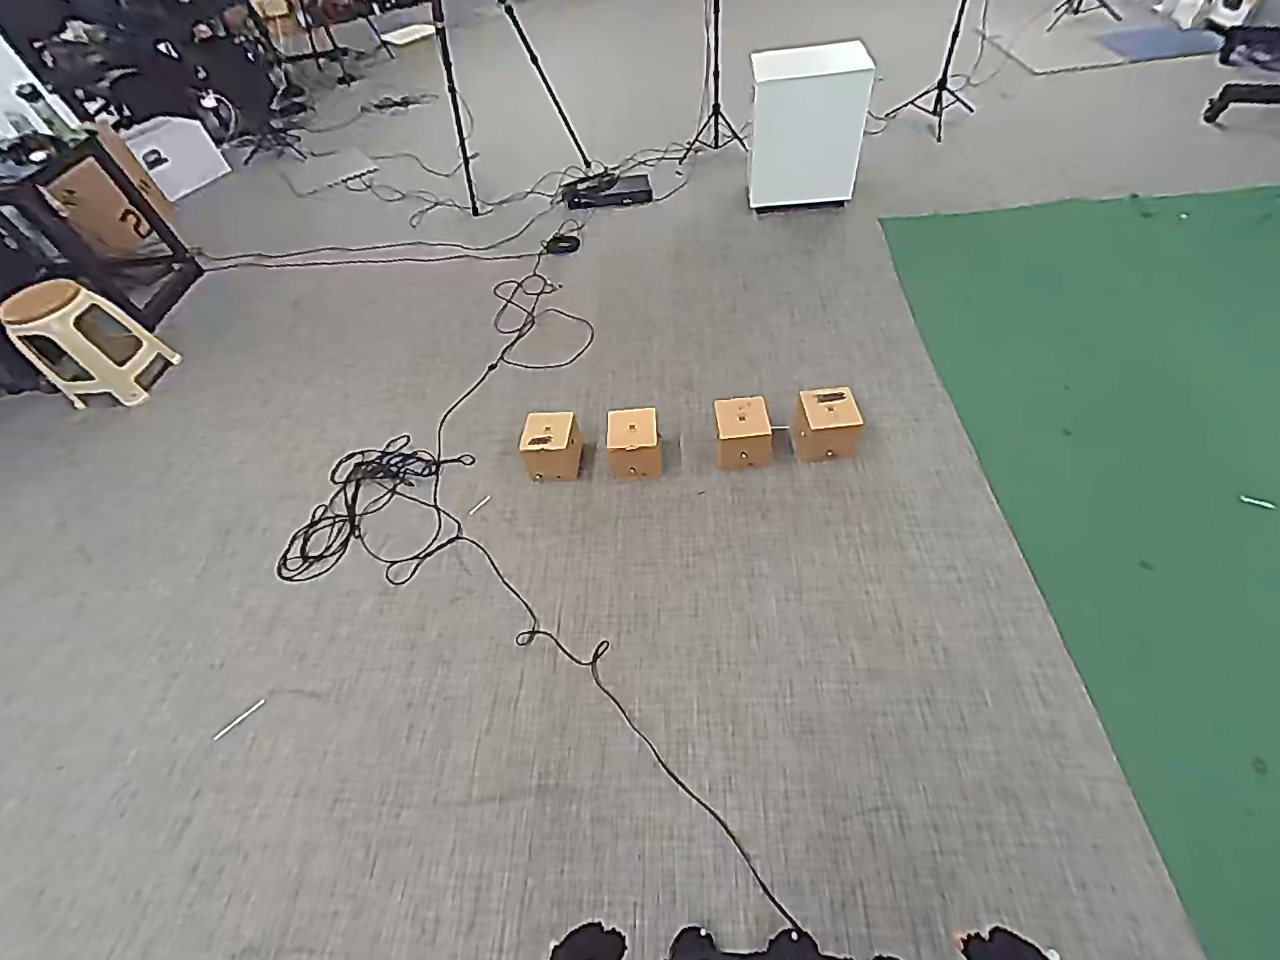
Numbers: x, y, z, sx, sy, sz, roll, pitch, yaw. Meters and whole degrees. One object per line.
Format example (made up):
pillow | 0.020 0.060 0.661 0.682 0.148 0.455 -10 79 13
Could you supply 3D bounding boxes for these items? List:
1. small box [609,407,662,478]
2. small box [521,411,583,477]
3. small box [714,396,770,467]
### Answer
small box | -0.014 -0.128 1.870 0.168 0.176 0.179 -4 53 5
small box | -0.302 -0.123 1.905 0.168 0.176 0.179 0 52 8
small box | 0.344 -0.158 1.841 0.168 0.176 0.179 -5 52 3
